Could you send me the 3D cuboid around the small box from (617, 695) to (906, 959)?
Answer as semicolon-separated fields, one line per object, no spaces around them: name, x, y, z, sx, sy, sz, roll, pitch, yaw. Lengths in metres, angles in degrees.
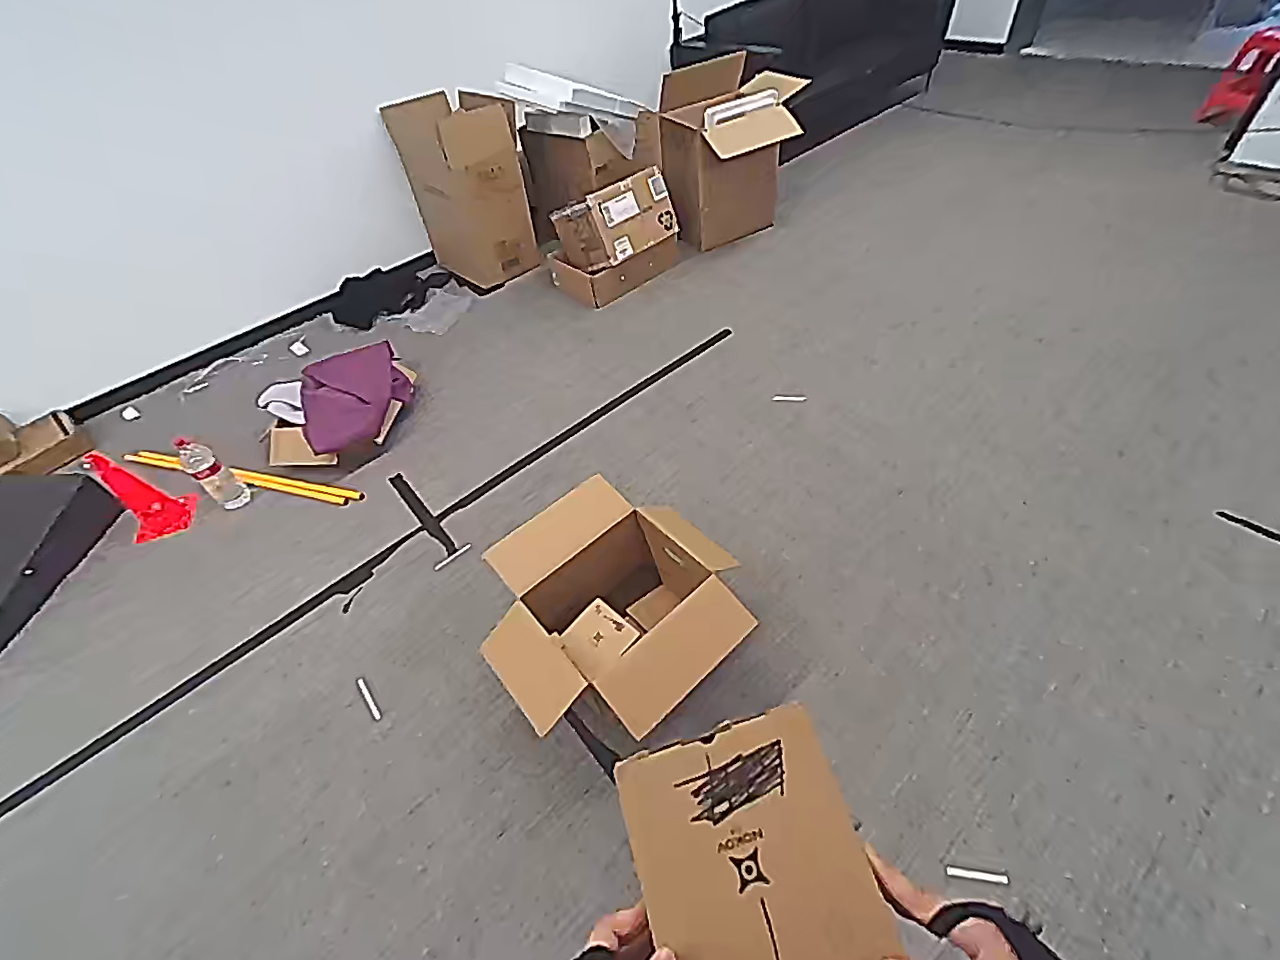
small box;0.093;0.313;0.473;0.168;0.176;0.179;-20;59;0
